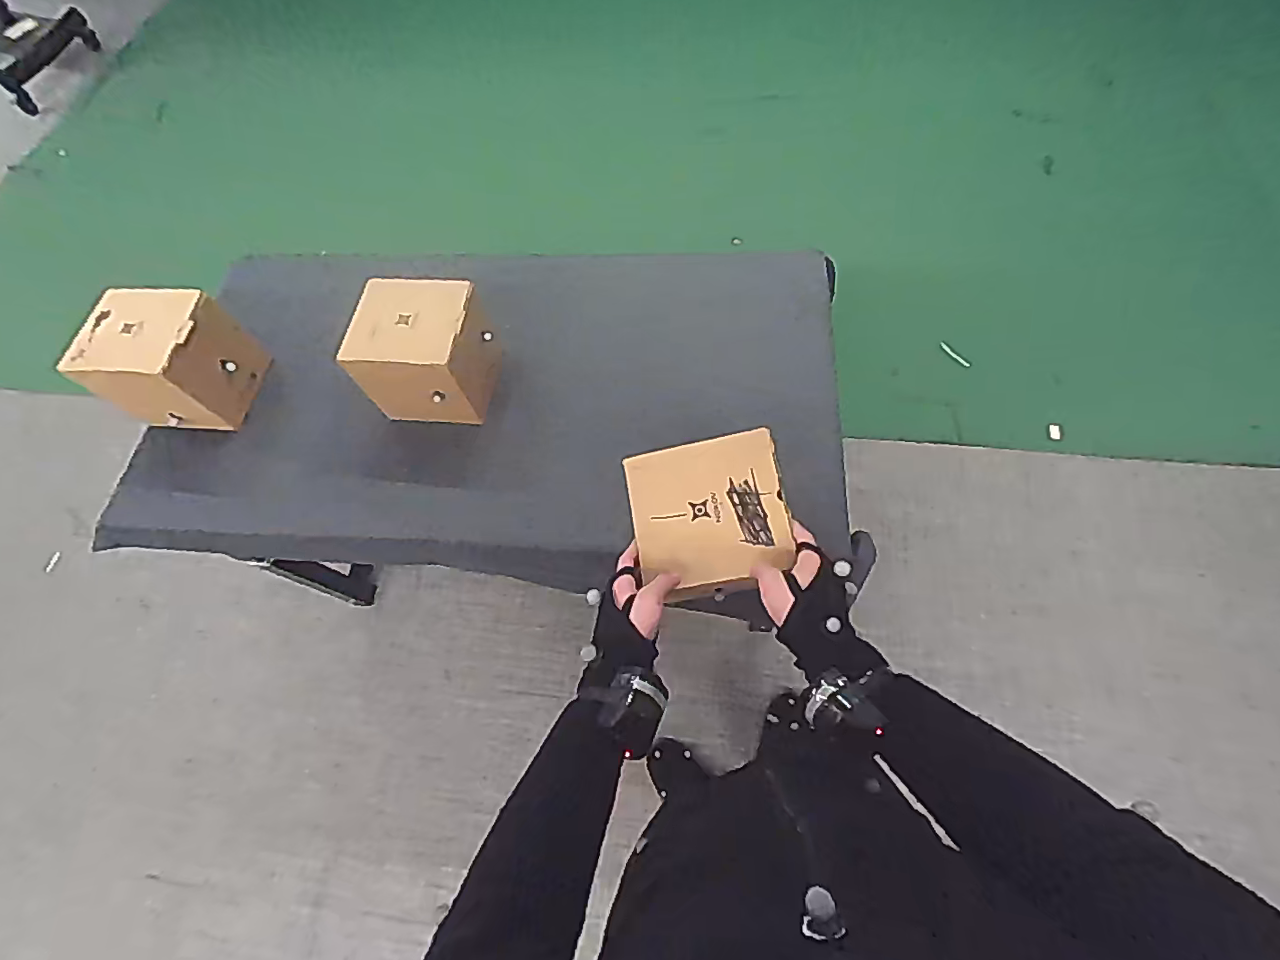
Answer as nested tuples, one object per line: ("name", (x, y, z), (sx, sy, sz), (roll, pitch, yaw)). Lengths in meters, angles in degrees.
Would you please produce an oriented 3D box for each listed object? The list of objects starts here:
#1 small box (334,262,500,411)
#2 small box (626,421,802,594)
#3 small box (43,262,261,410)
("small box", (-0.344, -0.225, 0.878), (0.179, 0.176, 0.168), (4, 64, 6))
("small box", (0.090, 0.044, 0.678), (0.179, 0.176, 0.168), (-11, 72, 8))
("small box", (-0.783, -0.231, 0.895), (0.179, 0.176, 0.168), (5, 64, 3))
